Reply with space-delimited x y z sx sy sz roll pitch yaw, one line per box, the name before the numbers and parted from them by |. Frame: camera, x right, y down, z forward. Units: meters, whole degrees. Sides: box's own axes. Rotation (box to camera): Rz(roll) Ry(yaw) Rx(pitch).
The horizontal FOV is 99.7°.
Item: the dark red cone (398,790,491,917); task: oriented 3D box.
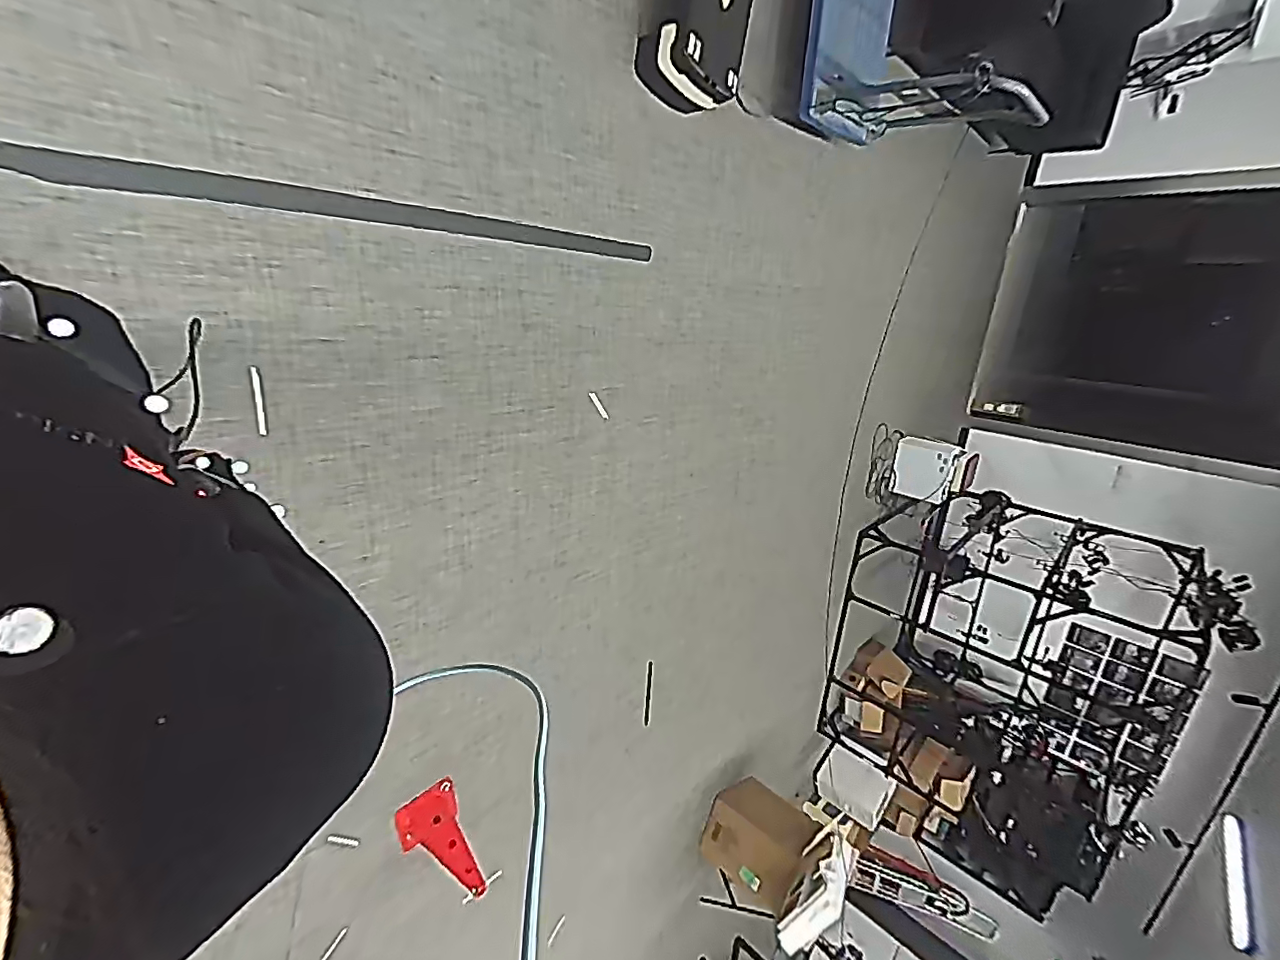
dark red cone | -0.587 1.203 1.705 0.201 0.394 0.202 -23 122 -40
